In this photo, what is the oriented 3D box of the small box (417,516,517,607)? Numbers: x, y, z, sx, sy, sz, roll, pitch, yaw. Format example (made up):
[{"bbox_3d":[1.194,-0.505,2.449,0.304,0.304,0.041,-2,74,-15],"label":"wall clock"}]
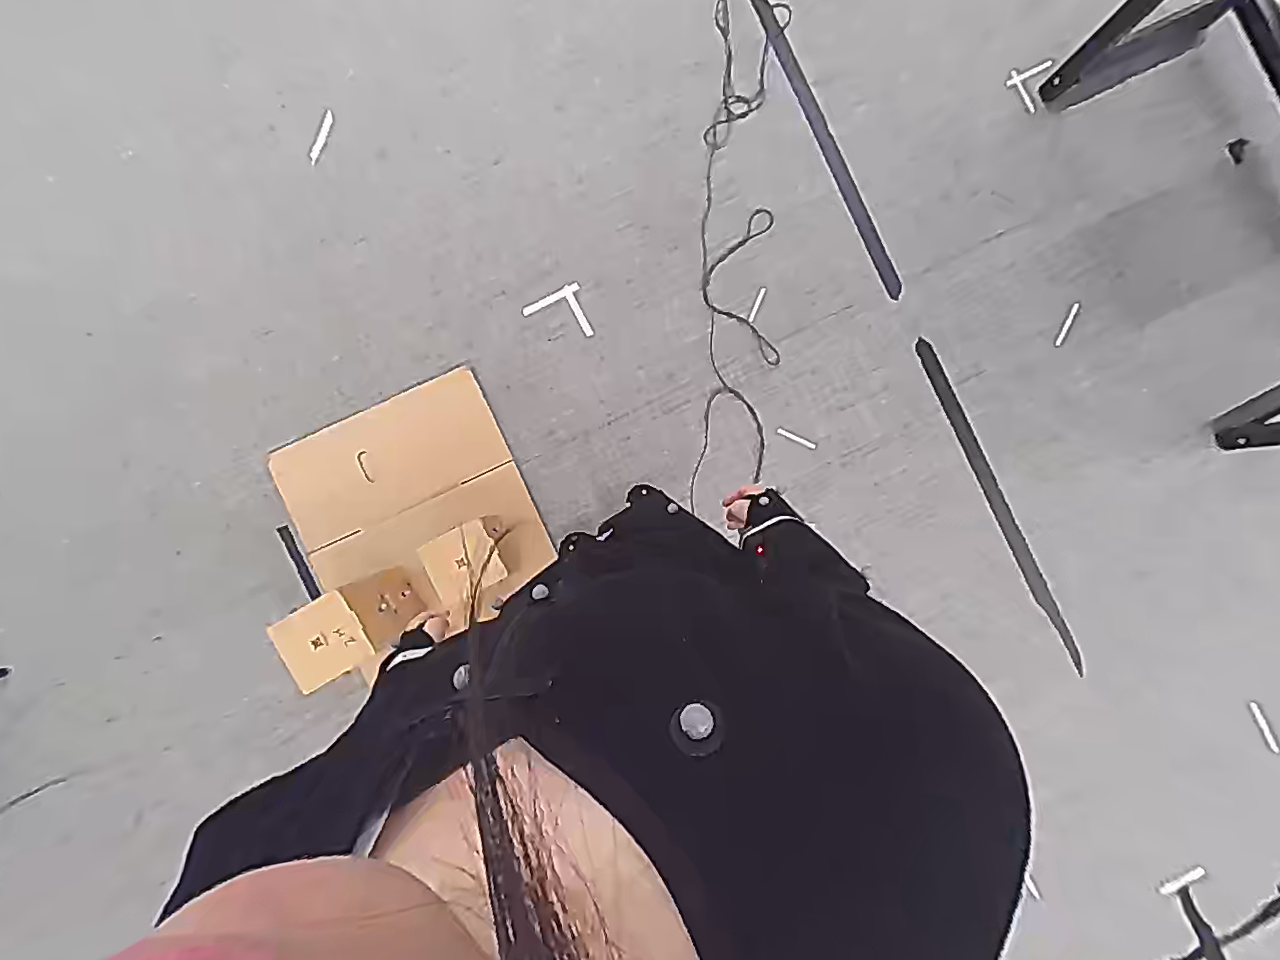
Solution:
[{"bbox_3d":[-0.433,0.201,1.393,0.179,0.176,0.168,-28,89,-2],"label":"small box"}]

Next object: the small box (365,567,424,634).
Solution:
[{"bbox_3d":[-0.679,0.340,1.379,0.179,0.176,0.168,-33,89,-3],"label":"small box"}]

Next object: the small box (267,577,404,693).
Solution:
[{"bbox_3d":[-0.673,0.339,1.215,0.179,0.176,0.168,-31,90,-3],"label":"small box"}]
